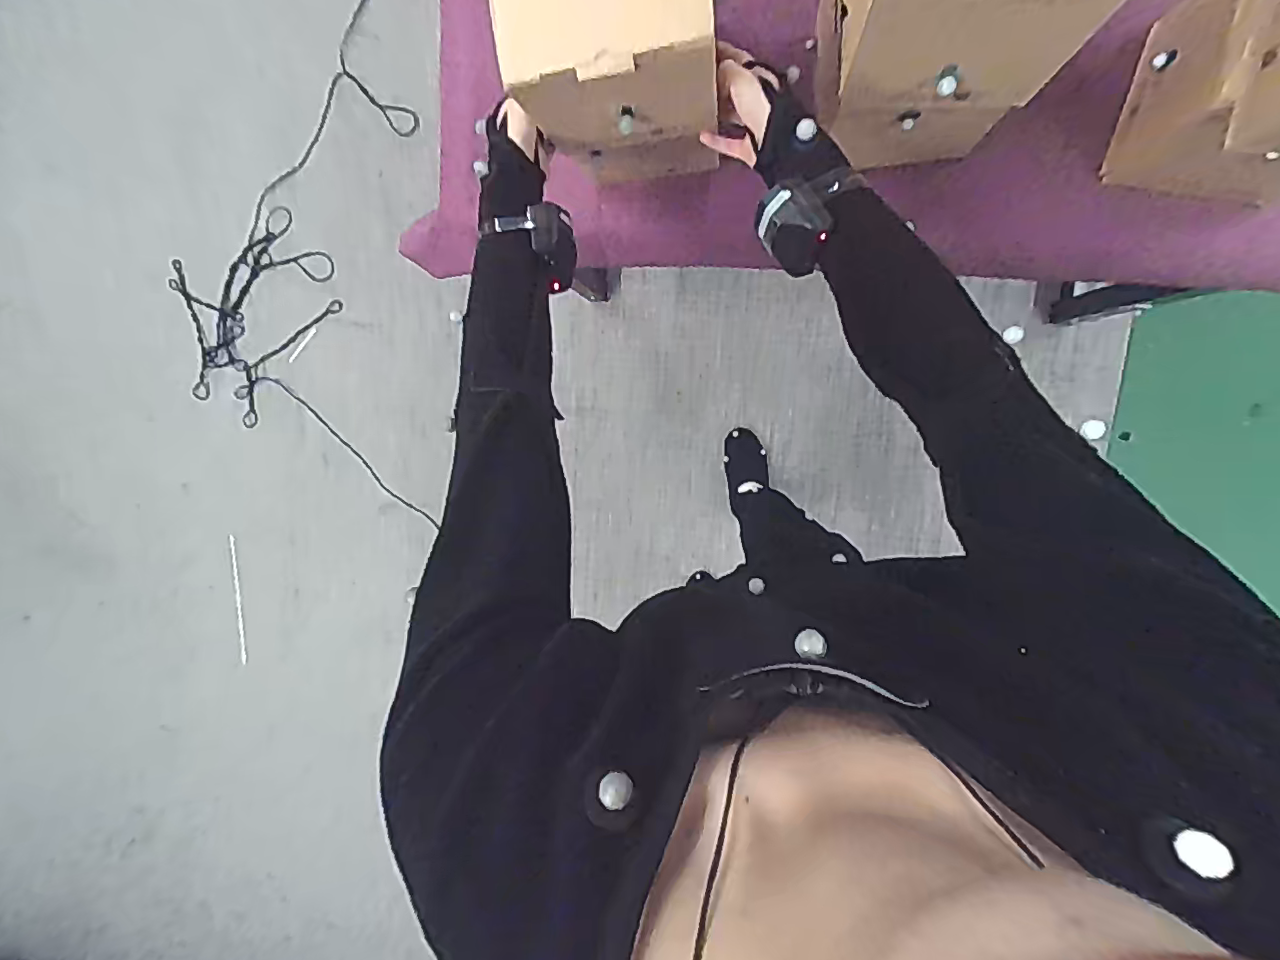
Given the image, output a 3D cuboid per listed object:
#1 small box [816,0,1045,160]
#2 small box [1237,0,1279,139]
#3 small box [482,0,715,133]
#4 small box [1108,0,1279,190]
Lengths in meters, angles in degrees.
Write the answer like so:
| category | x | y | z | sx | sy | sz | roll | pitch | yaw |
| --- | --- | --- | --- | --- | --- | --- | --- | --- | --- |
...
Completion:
| category | x | y | z | sx | sy | sz | roll | pitch | yaw |
| --- | --- | --- | --- | --- | --- | --- | --- | --- | --- |
| small box | 0.282 | -0.458 | 0.561 | 0.179 | 0.176 | 0.168 | -2 | 99 | 10 |
| small box | 0.578 | -0.344 | 0.356 | 0.179 | 0.176 | 0.168 | 9 | 100 | 10 |
| small box | -0.026 | -0.415 | 0.449 | 0.168 | 0.176 | 0.179 | -3 | 104 | 10 |
| small box | 0.612 | -0.397 | 0.510 | 0.179 | 0.176 | 0.168 | 15 | 100 | 9 |
